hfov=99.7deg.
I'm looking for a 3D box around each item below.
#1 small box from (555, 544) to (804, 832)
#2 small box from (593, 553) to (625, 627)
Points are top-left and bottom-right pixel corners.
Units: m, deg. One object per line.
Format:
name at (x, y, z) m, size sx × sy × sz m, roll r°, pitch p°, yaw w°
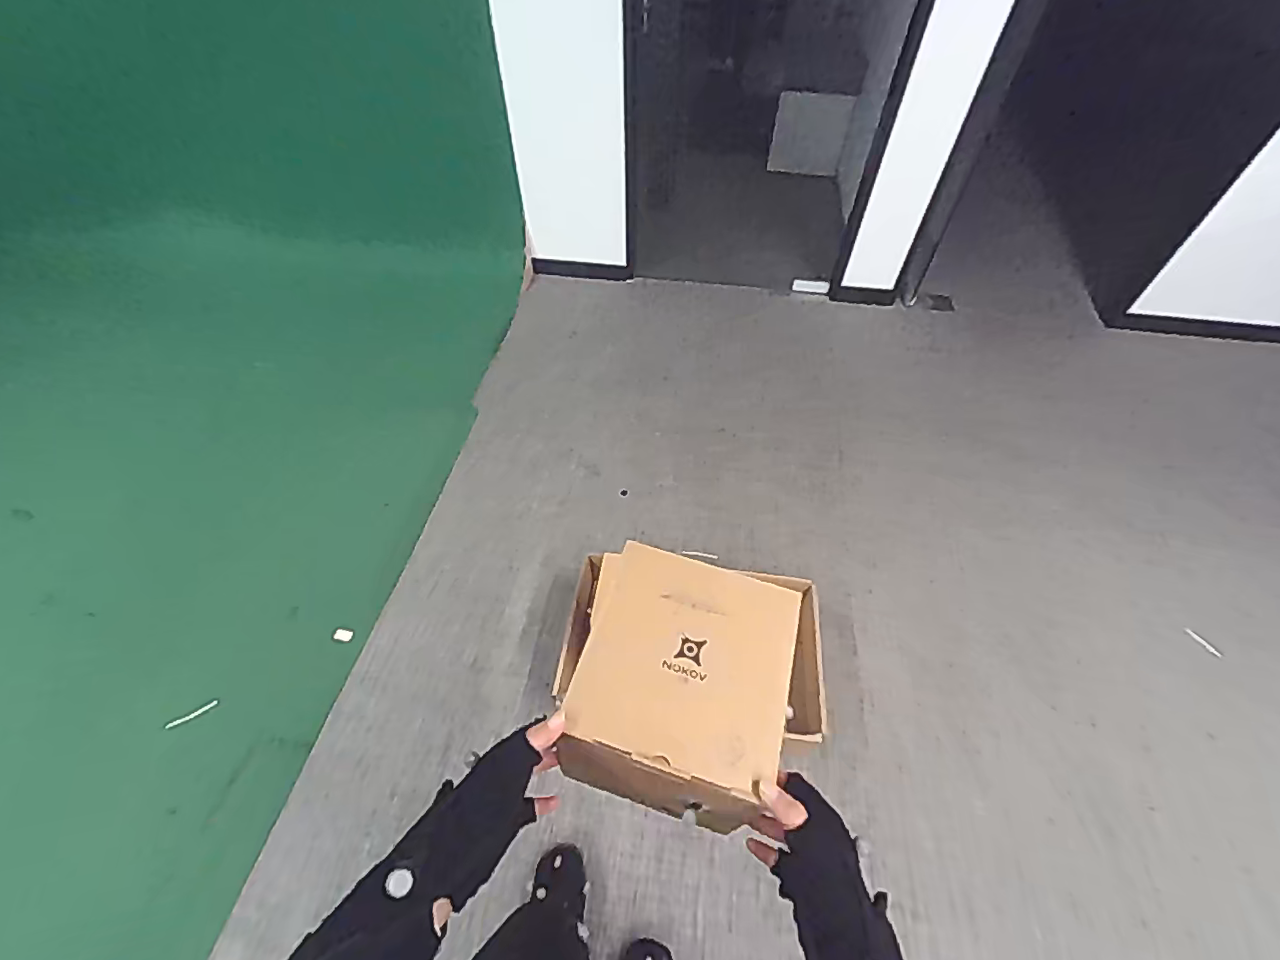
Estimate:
small box at (0.036, 0.194, 0.496) m, size 0.168 × 0.176 × 0.179 m, roll 17°, pitch 51°, yaw 8°
small box at (-0.010, 0.293, 1.234) m, size 0.168 × 0.176 × 0.179 m, roll 7°, pitch 52°, yaw 4°
